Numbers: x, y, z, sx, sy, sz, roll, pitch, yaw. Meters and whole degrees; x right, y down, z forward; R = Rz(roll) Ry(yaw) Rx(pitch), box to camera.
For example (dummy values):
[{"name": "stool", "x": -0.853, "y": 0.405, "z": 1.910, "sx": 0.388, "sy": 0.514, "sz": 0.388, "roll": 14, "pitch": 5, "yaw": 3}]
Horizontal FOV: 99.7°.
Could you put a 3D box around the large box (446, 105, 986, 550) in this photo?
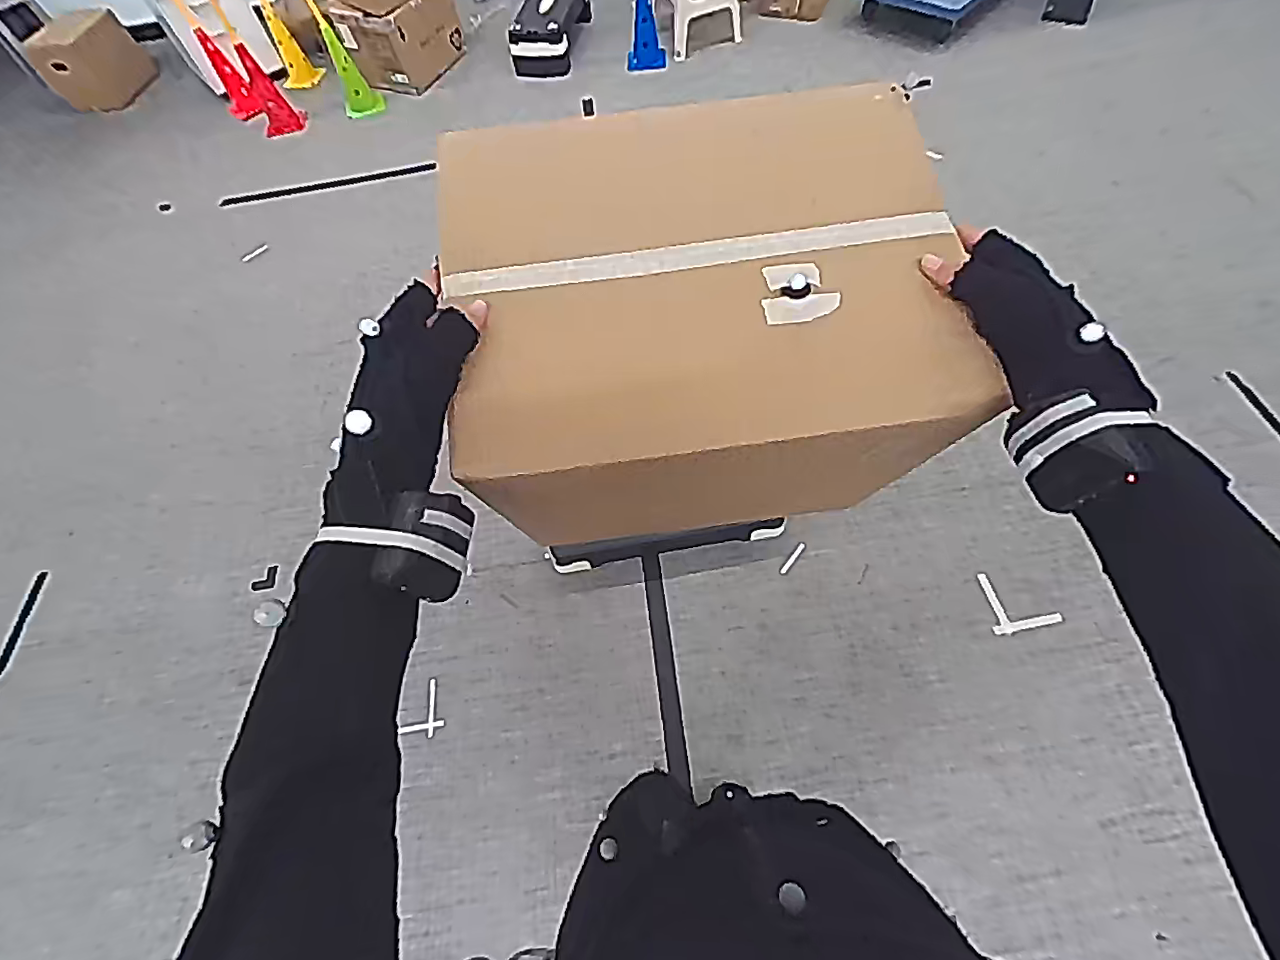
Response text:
[{"name": "large box", "x": 0.046, "y": -0.126, "z": 0.584, "sx": 0.408, "sy": 0.320, "sz": 0.320, "roll": -8, "pitch": 74, "yaw": -1}]
